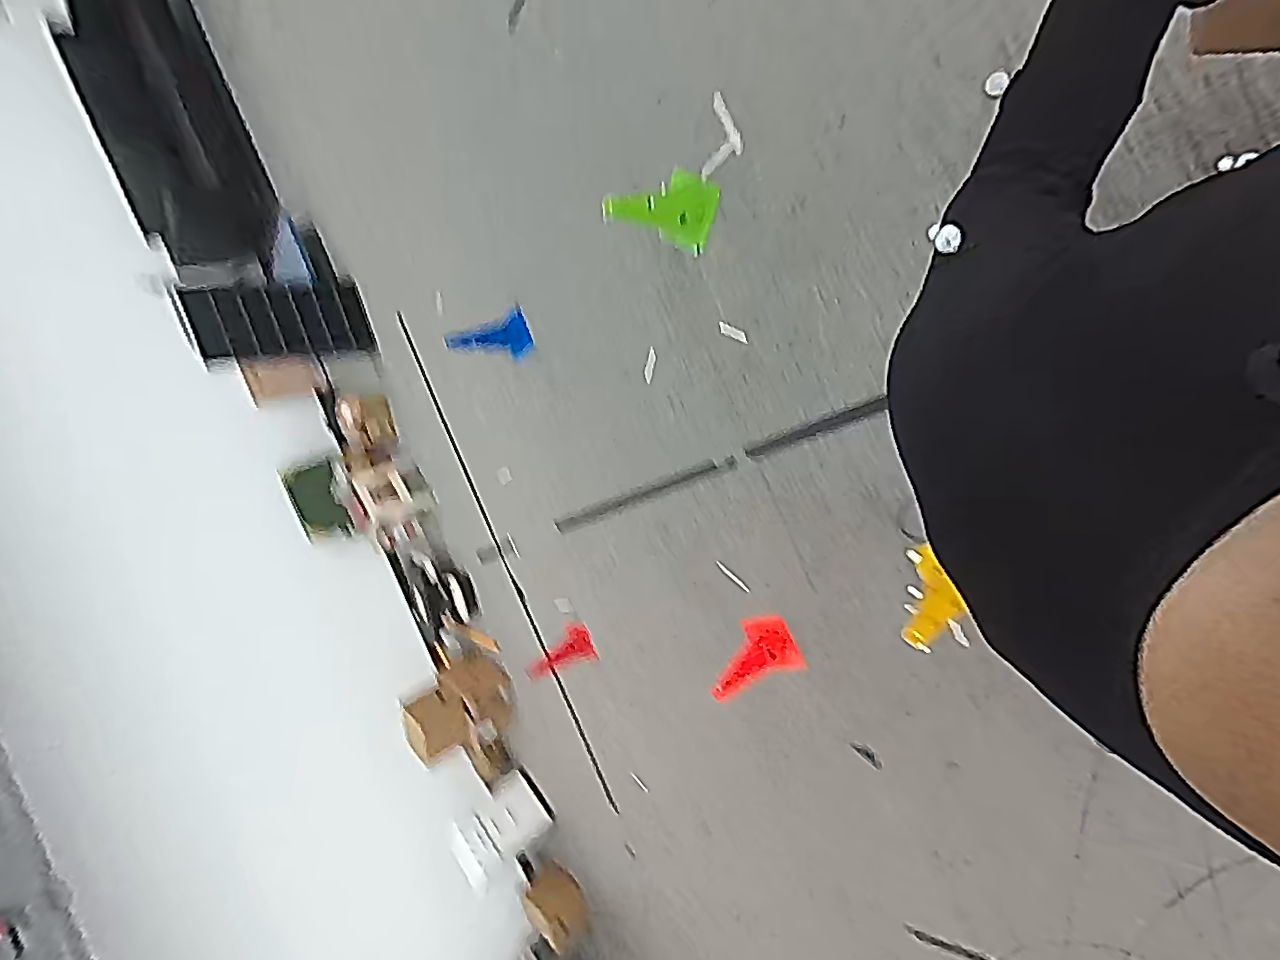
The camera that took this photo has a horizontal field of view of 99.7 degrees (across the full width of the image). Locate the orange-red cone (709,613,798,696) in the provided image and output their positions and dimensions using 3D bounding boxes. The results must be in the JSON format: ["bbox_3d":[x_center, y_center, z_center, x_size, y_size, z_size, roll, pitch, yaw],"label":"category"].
[{"bbox_3d":[0.362,0.643,1.903,0.199,0.360,0.198,-27,88,47],"label":"orange-red cone"}]

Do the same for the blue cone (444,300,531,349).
[{"bbox_3d":[-0.703,-0.686,2.453,0.193,0.380,0.192,-18,92,48],"label":"blue cone"}]

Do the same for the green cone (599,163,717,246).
[{"bbox_3d":[0.029,-0.827,1.601,0.202,0.368,0.200,41,132,28],"label":"green cone"}]

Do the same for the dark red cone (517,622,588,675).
[{"bbox_3d":[-0.475,0.918,2.860,0.202,0.394,0.201,-14,95,48],"label":"dark red cone"}]

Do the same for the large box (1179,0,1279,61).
[{"bbox_3d":[0.593,-0.438,0.257,0.408,0.320,0.320,26,125,34],"label":"large box"}]
